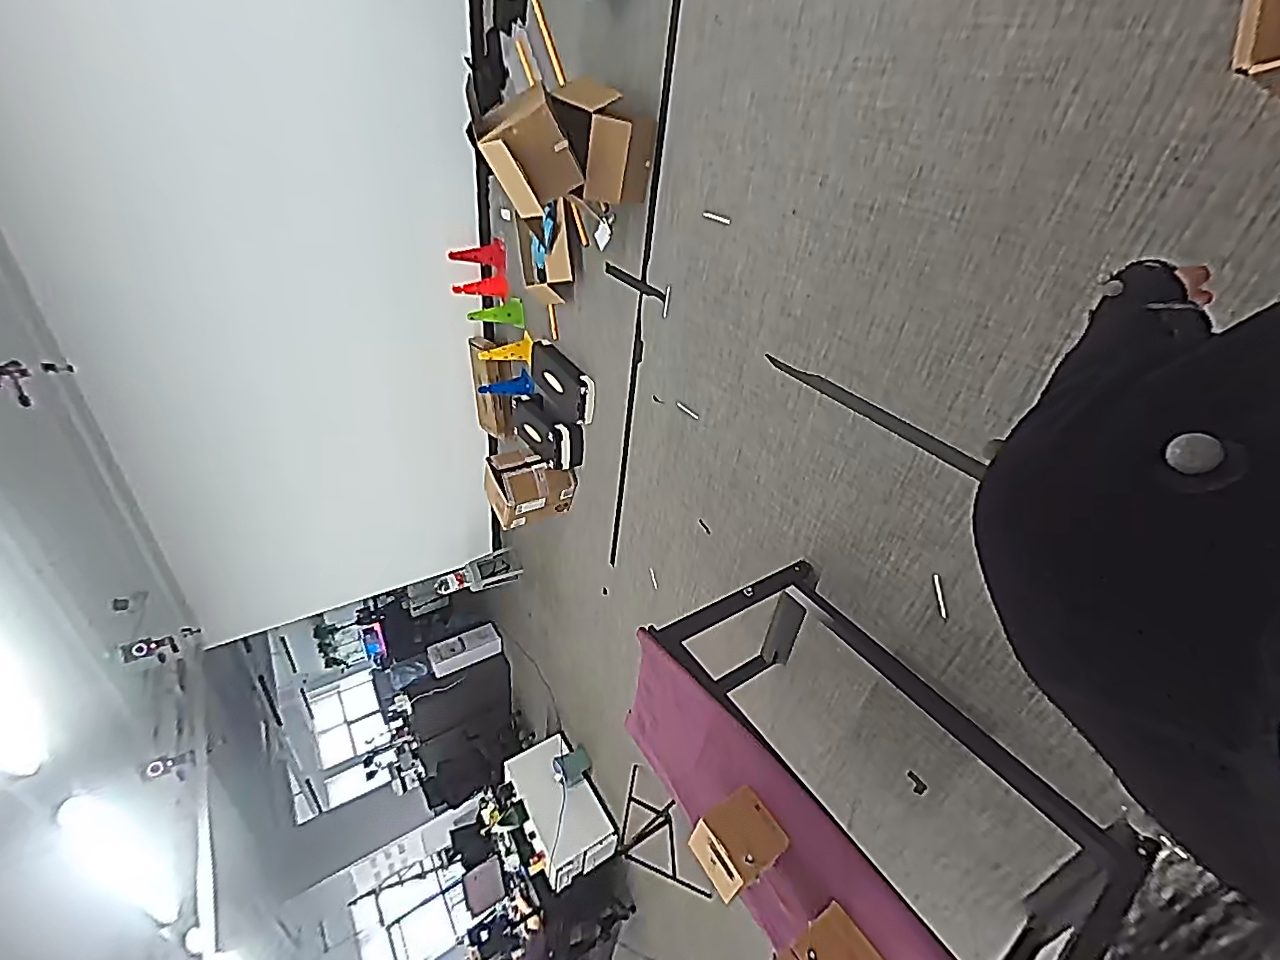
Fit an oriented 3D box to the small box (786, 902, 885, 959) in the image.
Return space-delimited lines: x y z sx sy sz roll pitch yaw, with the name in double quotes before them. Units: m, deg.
"small box" 0.440 1.111 1.211 0.179 0.176 0.168 40 136 43
